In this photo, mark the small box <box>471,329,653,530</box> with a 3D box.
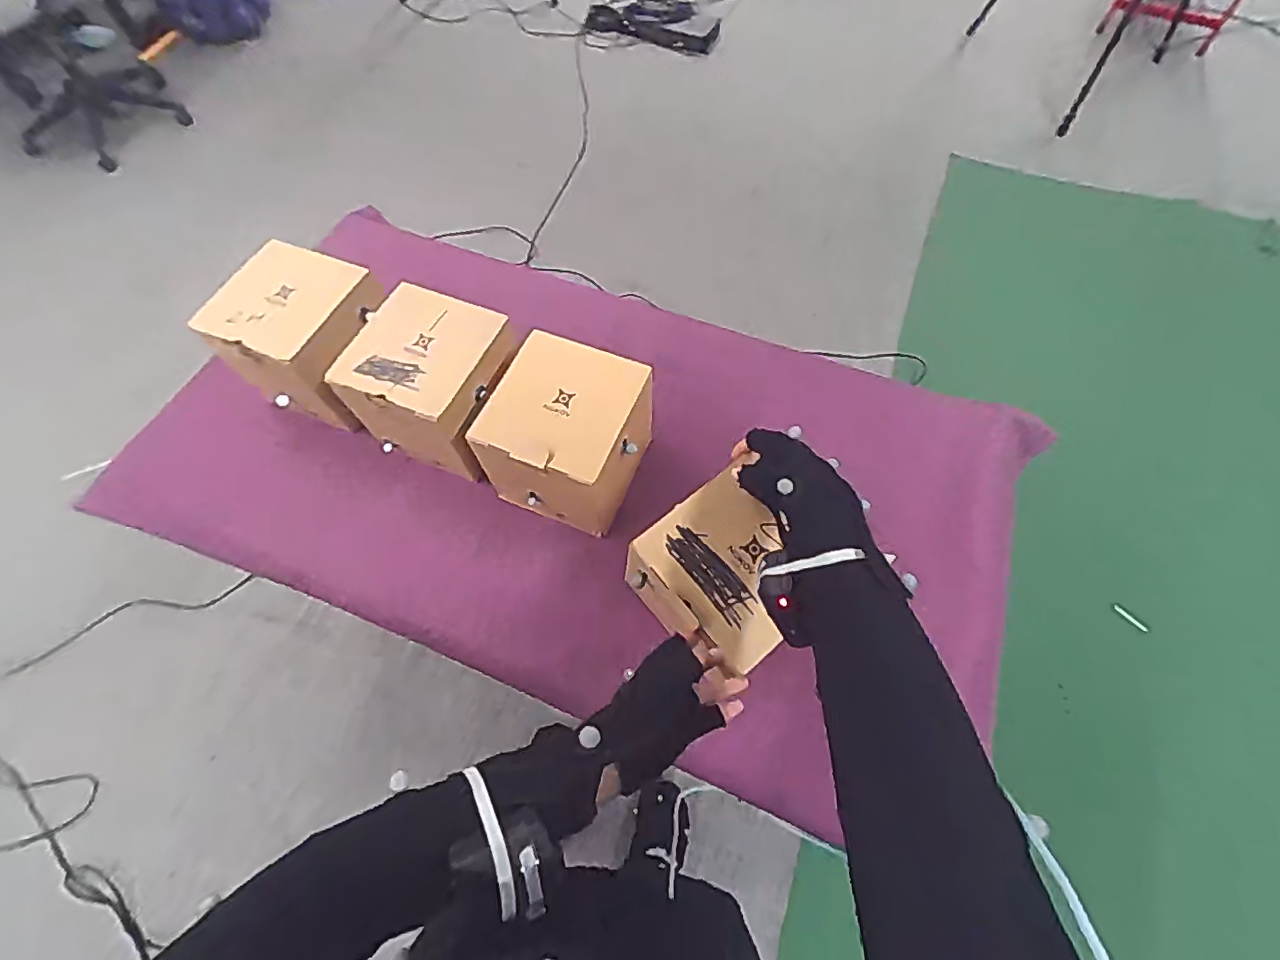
[{"bbox_3d":[-0.091,-0.061,0.718,0.168,0.176,0.179,20,67,10],"label":"small box"}]

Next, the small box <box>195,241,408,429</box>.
[{"bbox_3d":[-0.472,-0.207,0.793,0.168,0.176,0.179,20,66,11],"label":"small box"}]
